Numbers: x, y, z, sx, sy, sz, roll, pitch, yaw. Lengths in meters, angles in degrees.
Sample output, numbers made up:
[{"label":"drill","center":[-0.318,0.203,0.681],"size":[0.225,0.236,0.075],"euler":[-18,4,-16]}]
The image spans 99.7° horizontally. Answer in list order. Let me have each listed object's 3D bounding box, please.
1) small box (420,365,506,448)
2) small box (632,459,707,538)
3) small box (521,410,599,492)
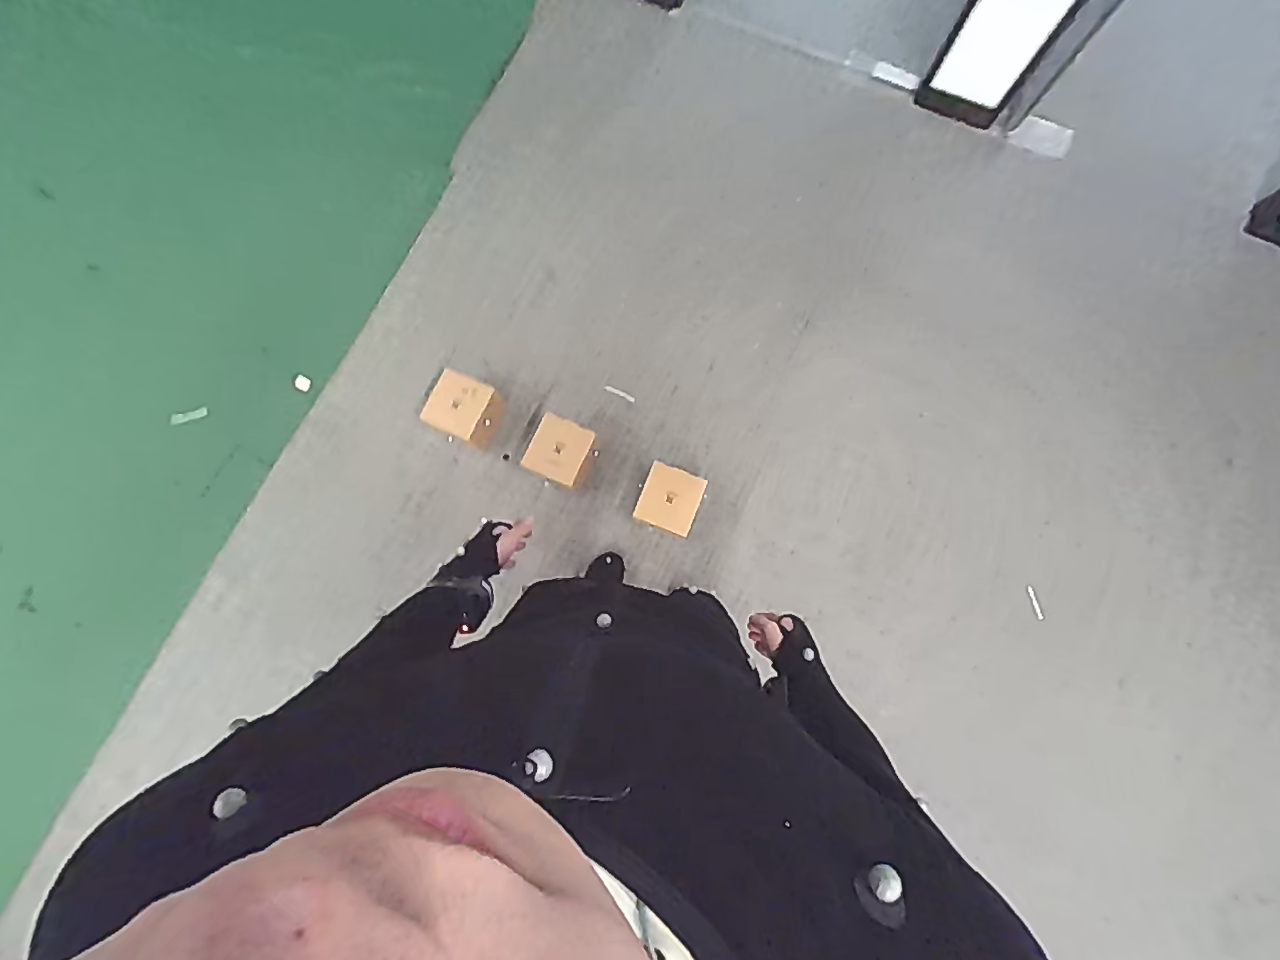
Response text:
[{"label":"small box","center":[-0.529,-0.216,1.648],"size":[0.168,0.176,0.179],"euler":[25,81,5]},{"label":"small box","center":[0.087,0.062,1.591],"size":[0.168,0.176,0.179],"euler":[22,81,5]},{"label":"small box","center":[-0.230,-0.082,1.621],"size":[0.168,0.176,0.179],"euler":[25,82,6]}]
